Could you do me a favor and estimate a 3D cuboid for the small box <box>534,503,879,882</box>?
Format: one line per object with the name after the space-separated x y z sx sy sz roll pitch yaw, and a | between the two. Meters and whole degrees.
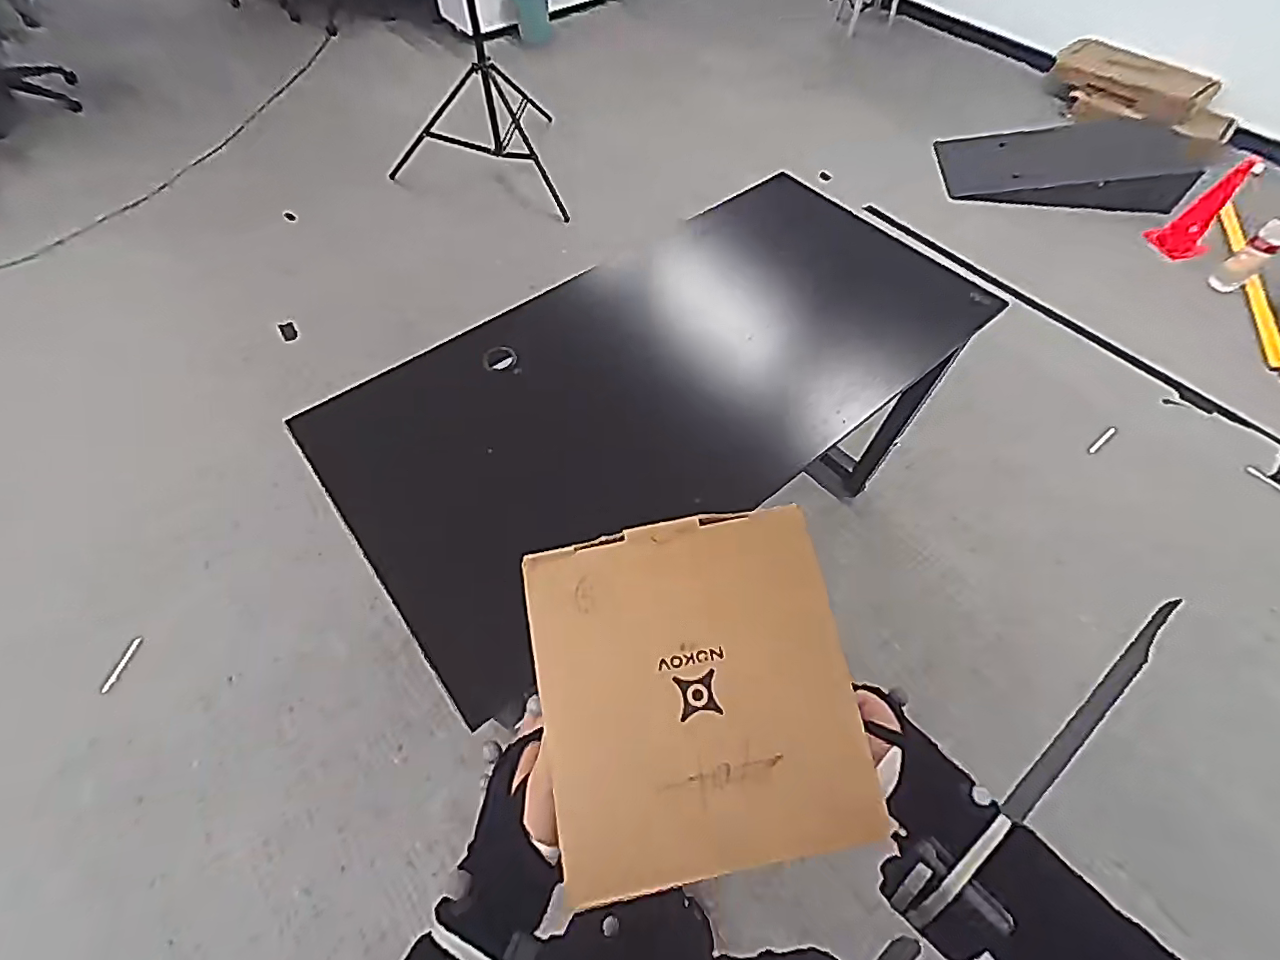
0.029 0.130 0.377 0.168 0.176 0.179 -10 75 -3 | small box
